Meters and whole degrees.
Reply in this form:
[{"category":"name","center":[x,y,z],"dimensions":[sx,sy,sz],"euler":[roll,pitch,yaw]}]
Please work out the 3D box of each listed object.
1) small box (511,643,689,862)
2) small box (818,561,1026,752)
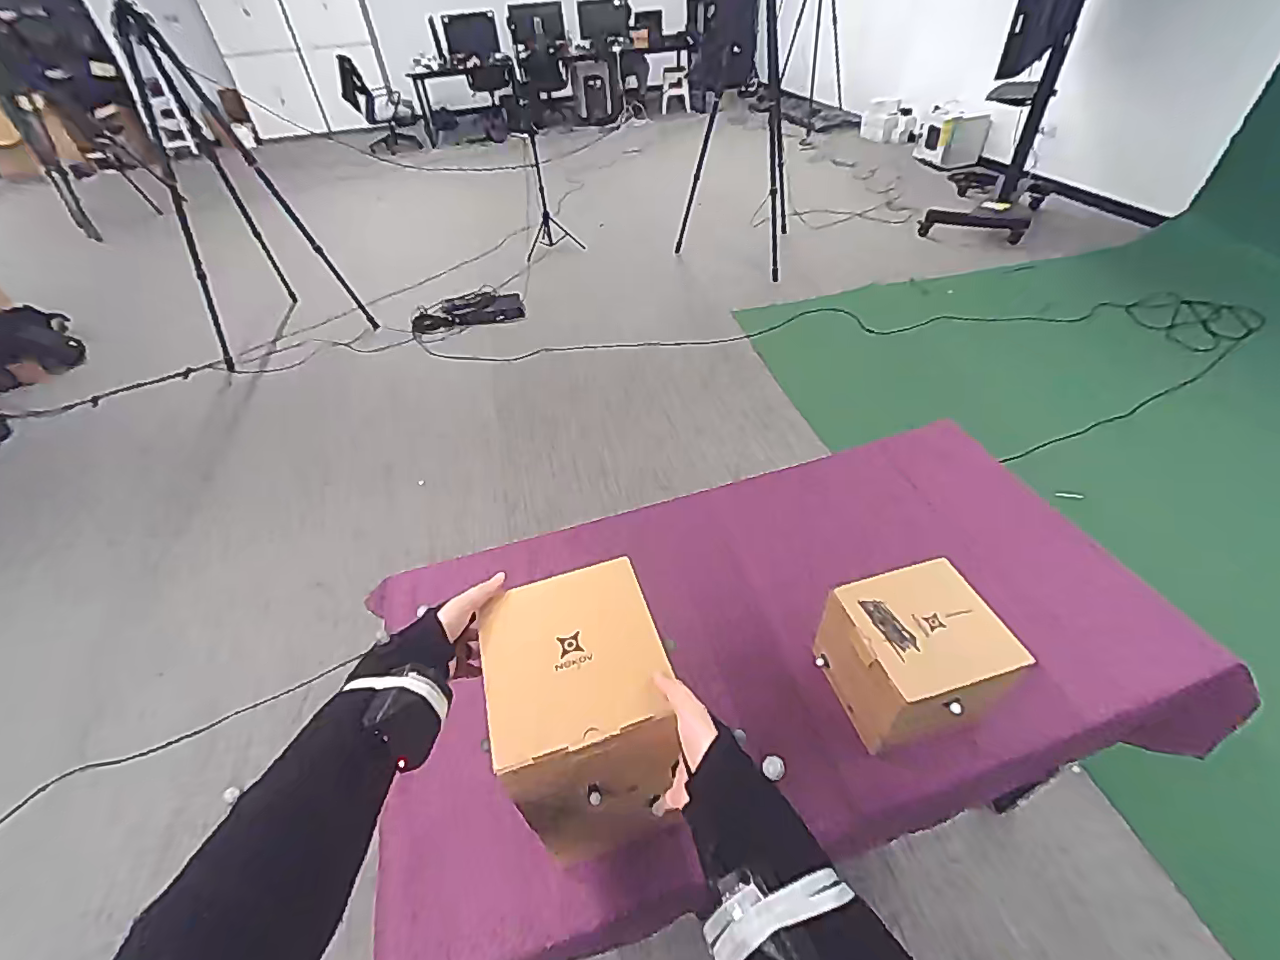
[{"category":"small box","center":[-0.048,0.337,0.671],"dimensions":[0.179,0.176,0.168],"euler":[-15,44,-10]},{"category":"small box","center":[0.359,0.241,0.734],"dimensions":[0.179,0.176,0.168],"euler":[-13,44,-9]}]
